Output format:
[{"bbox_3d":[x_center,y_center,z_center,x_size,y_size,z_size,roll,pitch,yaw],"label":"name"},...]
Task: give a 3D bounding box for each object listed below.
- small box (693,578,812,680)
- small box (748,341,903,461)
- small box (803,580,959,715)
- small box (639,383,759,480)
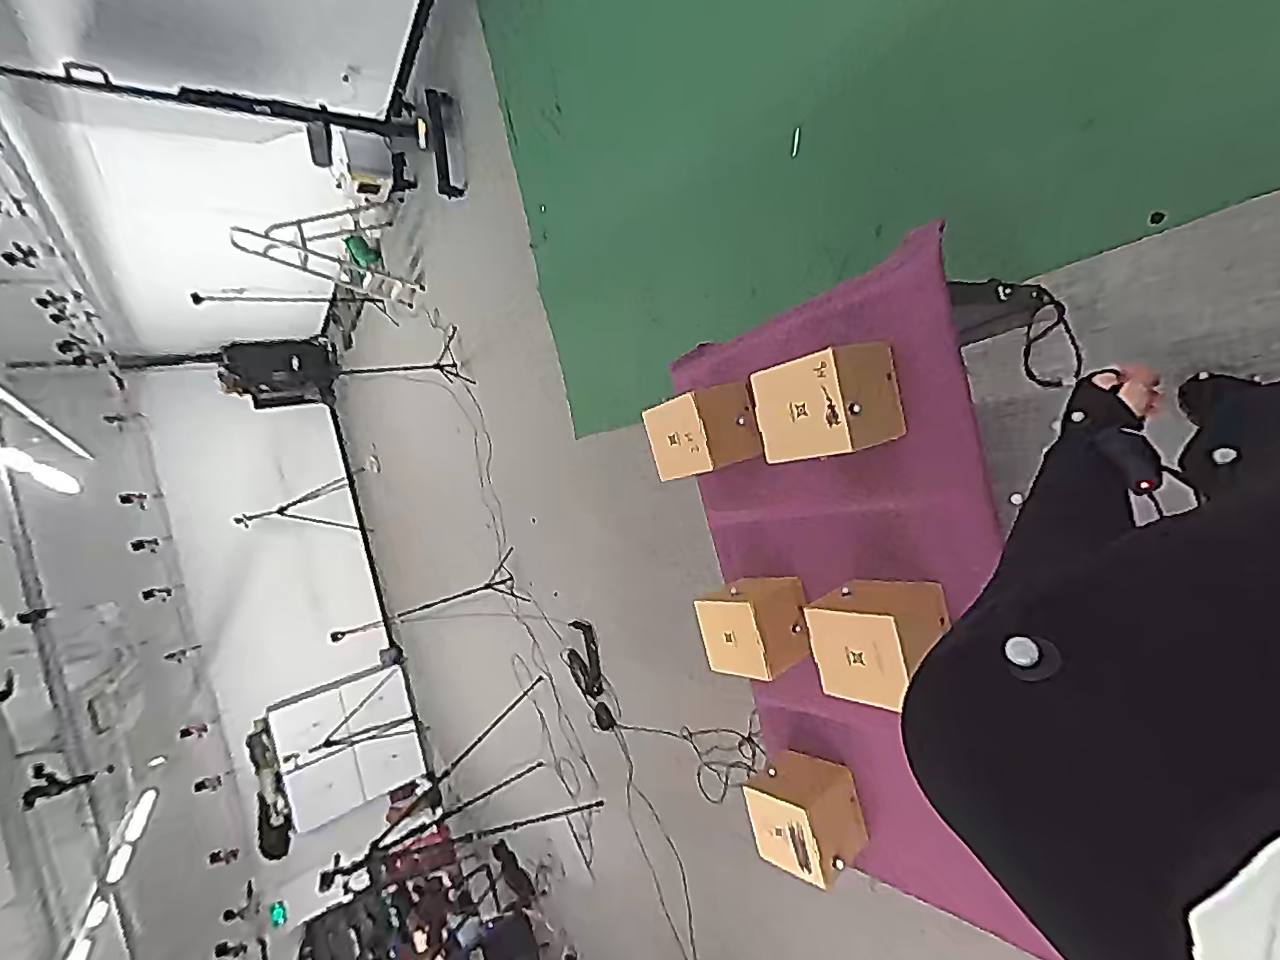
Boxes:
[{"bbox_3d":[0.250,0.320,1.195,0.179,0.176,0.168,-15,89,52],"label":"small box"},{"bbox_3d":[0.322,-0.135,0.944,0.179,0.176,0.168,-8,97,55],"label":"small box"},{"bbox_3d":[0.425,0.282,0.957,0.179,0.176,0.168,-11,94,54],"label":"small box"},{"bbox_3d":[0.131,-0.106,1.196,0.179,0.176,0.168,-14,94,52],"label":"small box"}]
